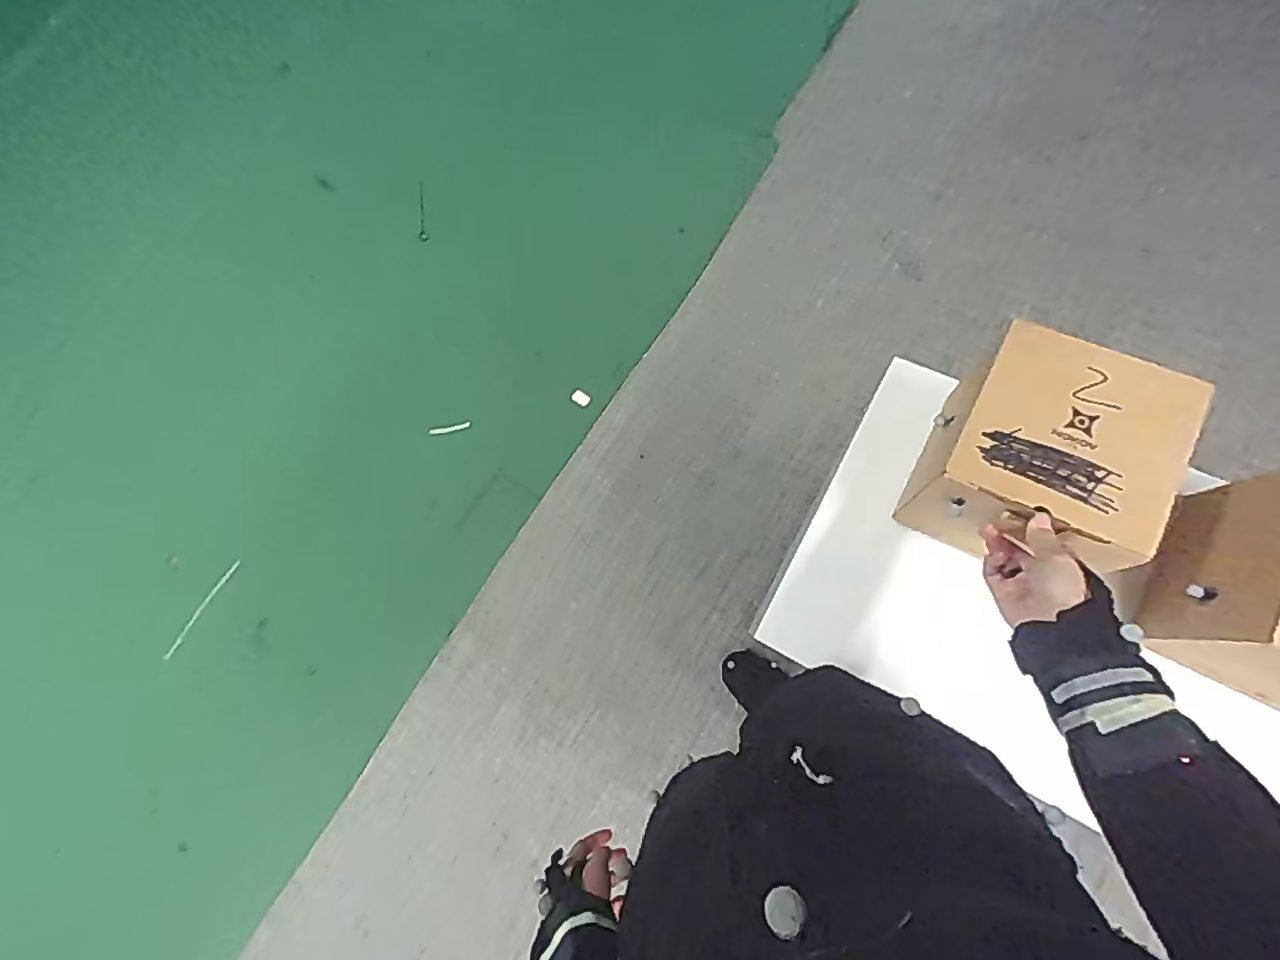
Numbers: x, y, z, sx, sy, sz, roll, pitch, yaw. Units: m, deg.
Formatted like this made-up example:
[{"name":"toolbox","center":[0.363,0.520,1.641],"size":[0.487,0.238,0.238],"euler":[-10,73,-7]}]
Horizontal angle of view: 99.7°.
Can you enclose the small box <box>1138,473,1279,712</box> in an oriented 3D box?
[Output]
[{"name":"small box","center":[0.600,0.110,0.473],"size":[0.168,0.176,0.179],"euler":[27,81,16]}]
